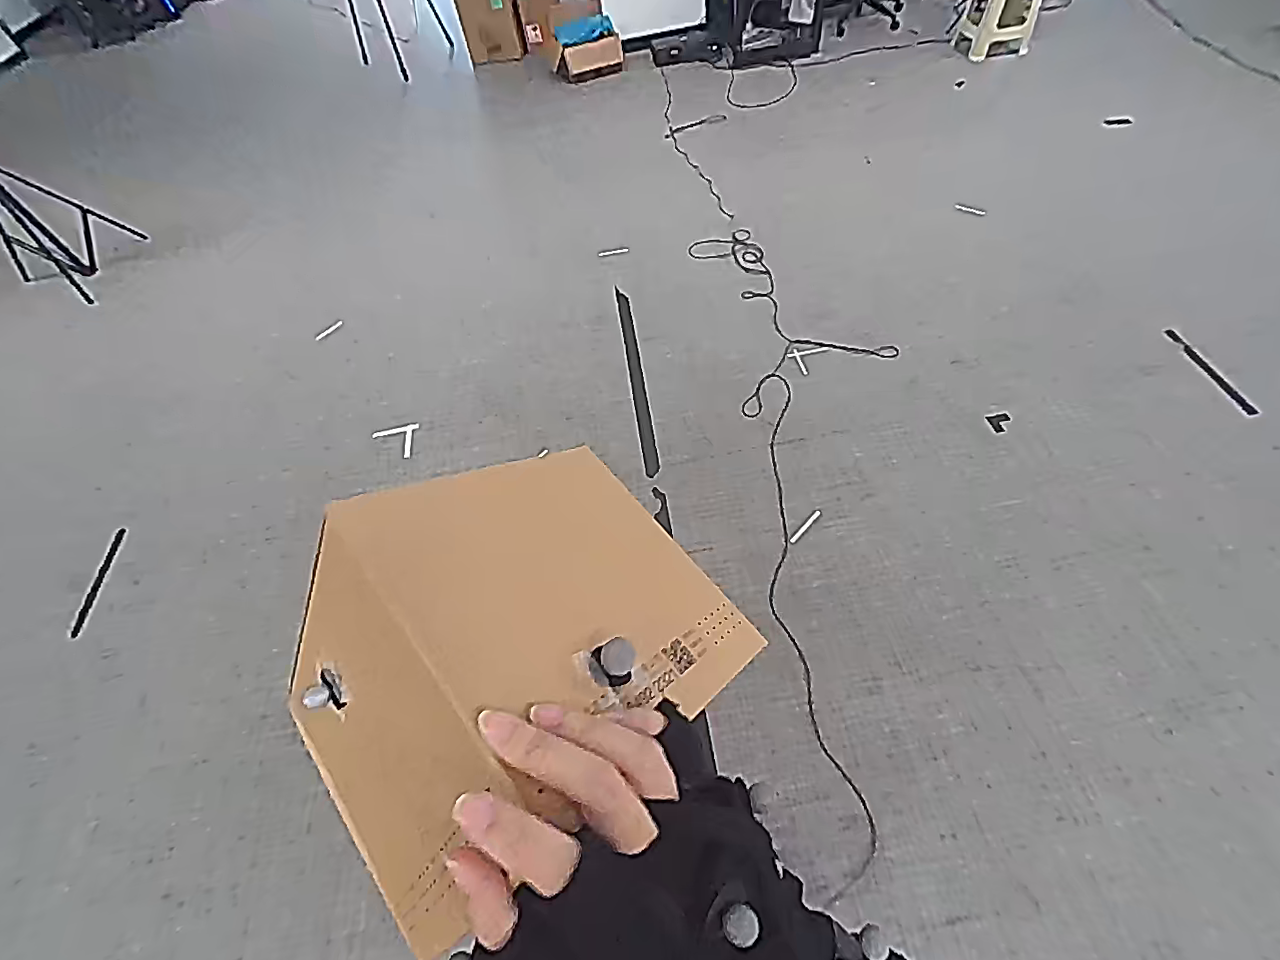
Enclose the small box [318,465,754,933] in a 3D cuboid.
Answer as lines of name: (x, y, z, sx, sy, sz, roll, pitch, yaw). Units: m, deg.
small box: (-0.067, 0.121, 0.329, 0.176, 0.179, 0.168, 46, 36, 20)
